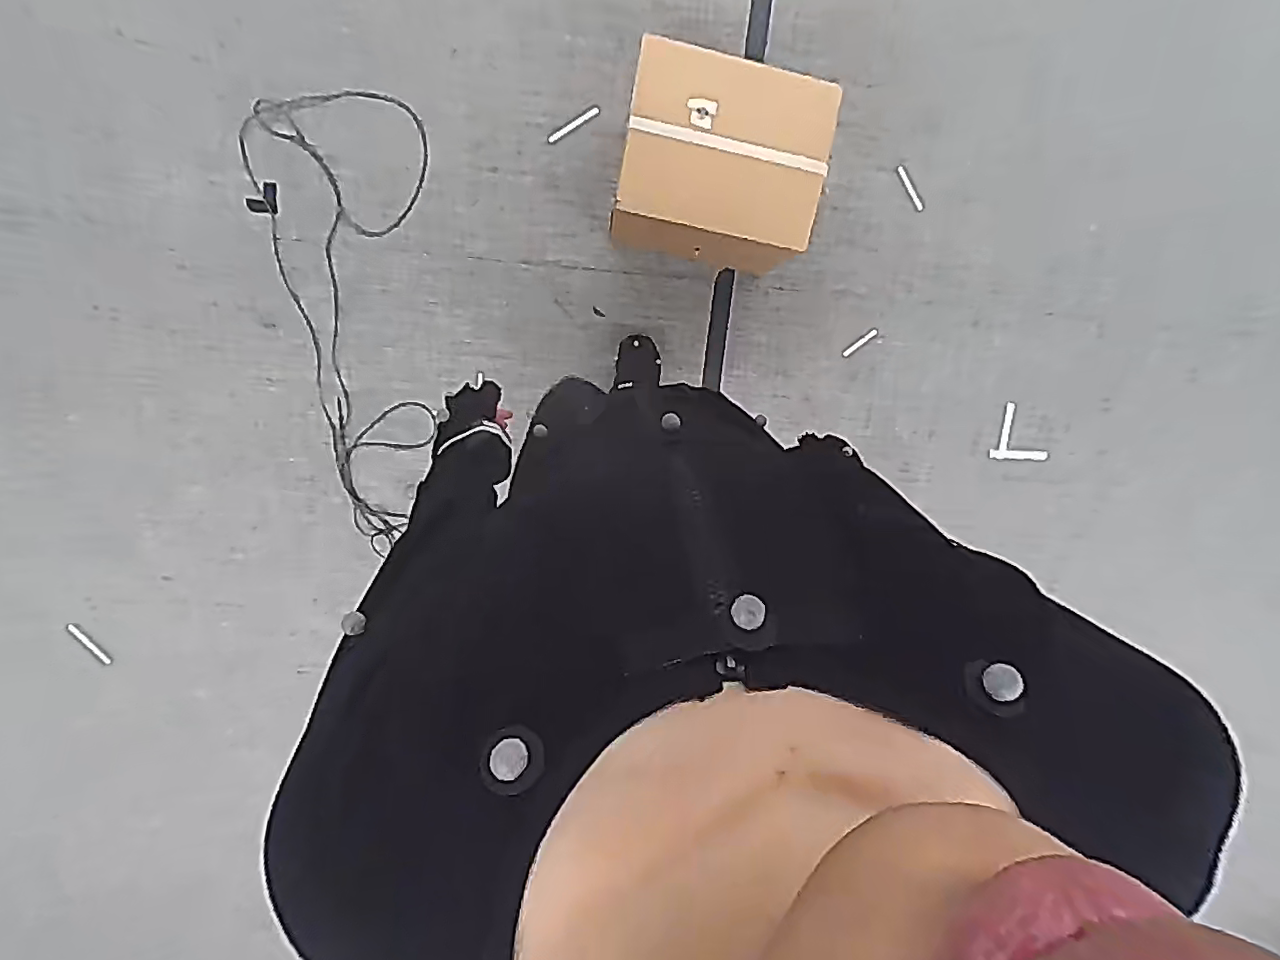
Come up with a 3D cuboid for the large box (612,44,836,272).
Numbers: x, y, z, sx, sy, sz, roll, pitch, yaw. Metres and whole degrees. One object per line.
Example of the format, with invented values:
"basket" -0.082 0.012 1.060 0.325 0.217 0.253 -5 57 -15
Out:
"large box" 0.159 -0.682 1.215 0.408 0.320 0.320 10 101 -6
